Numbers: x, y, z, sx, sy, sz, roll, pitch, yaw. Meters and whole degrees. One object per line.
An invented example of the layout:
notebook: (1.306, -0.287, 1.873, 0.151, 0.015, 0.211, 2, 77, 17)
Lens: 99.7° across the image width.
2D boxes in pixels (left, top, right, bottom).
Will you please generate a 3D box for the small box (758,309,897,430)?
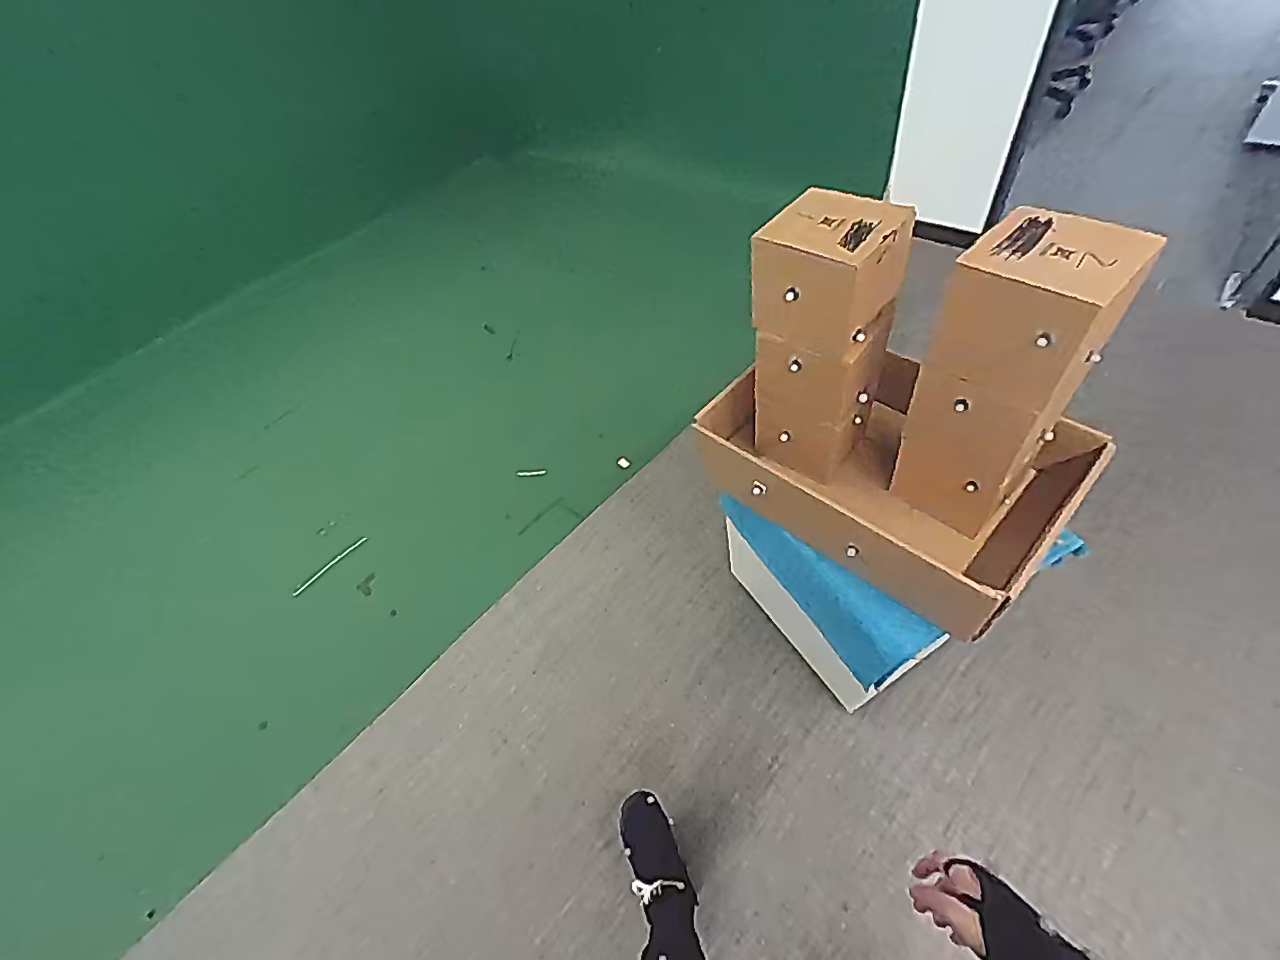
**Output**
small box: (0.328, -0.219, 0.981, 0.179, 0.176, 0.168, 31, 64, 28)

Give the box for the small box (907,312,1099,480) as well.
small box: (0.558, -0.130, 0.860, 0.168, 0.176, 0.179, -40, 55, -18)

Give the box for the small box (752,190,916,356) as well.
small box: (0.298, -0.323, 0.856, 0.179, 0.176, 0.168, 33, 66, 32)
